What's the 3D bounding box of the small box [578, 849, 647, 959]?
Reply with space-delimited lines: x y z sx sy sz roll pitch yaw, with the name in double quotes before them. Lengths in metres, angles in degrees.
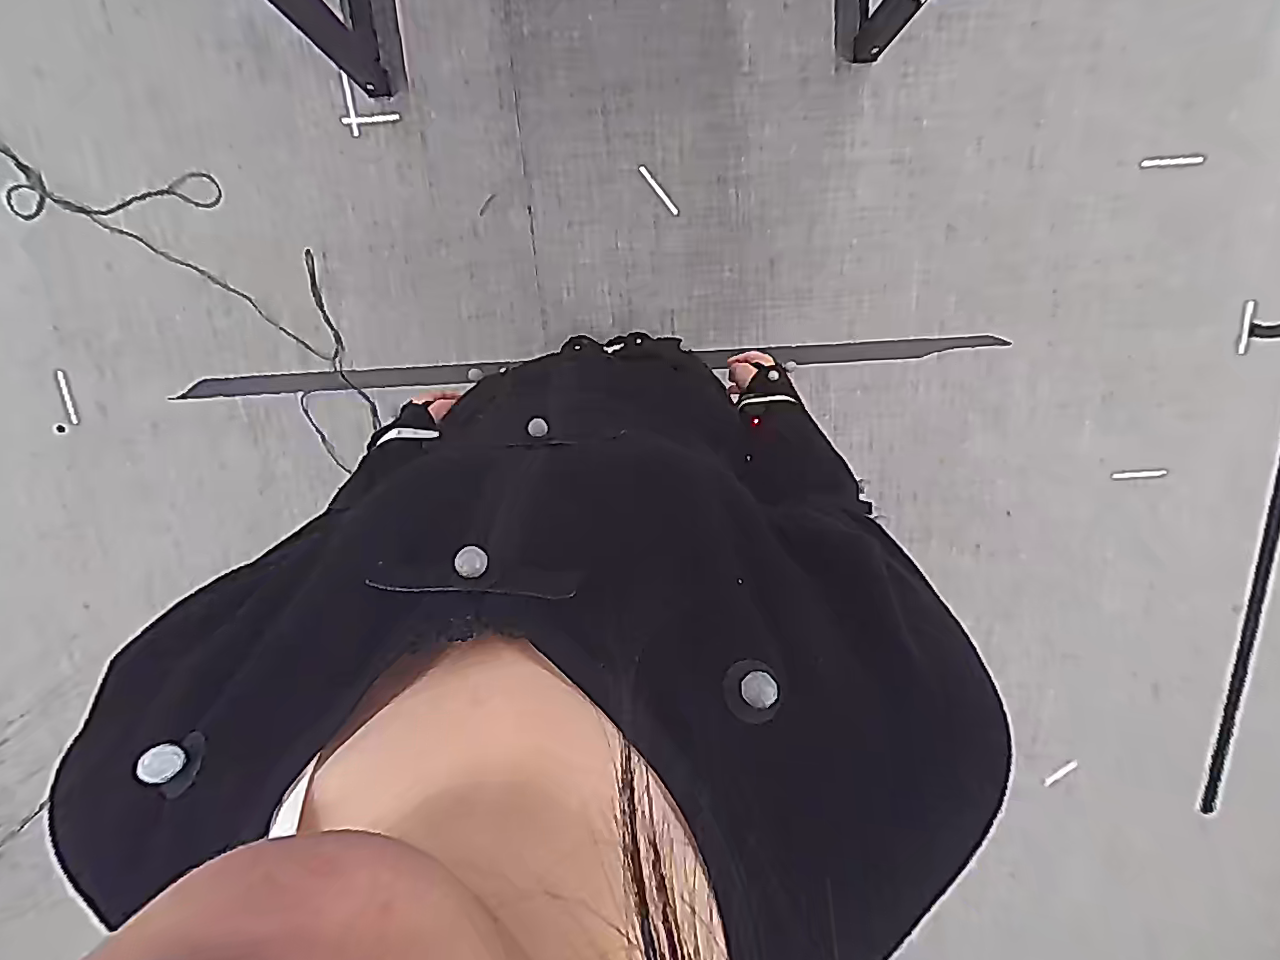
"small box" -0.073 1.181 1.511 0.168 0.176 0.179 -8 104 0
